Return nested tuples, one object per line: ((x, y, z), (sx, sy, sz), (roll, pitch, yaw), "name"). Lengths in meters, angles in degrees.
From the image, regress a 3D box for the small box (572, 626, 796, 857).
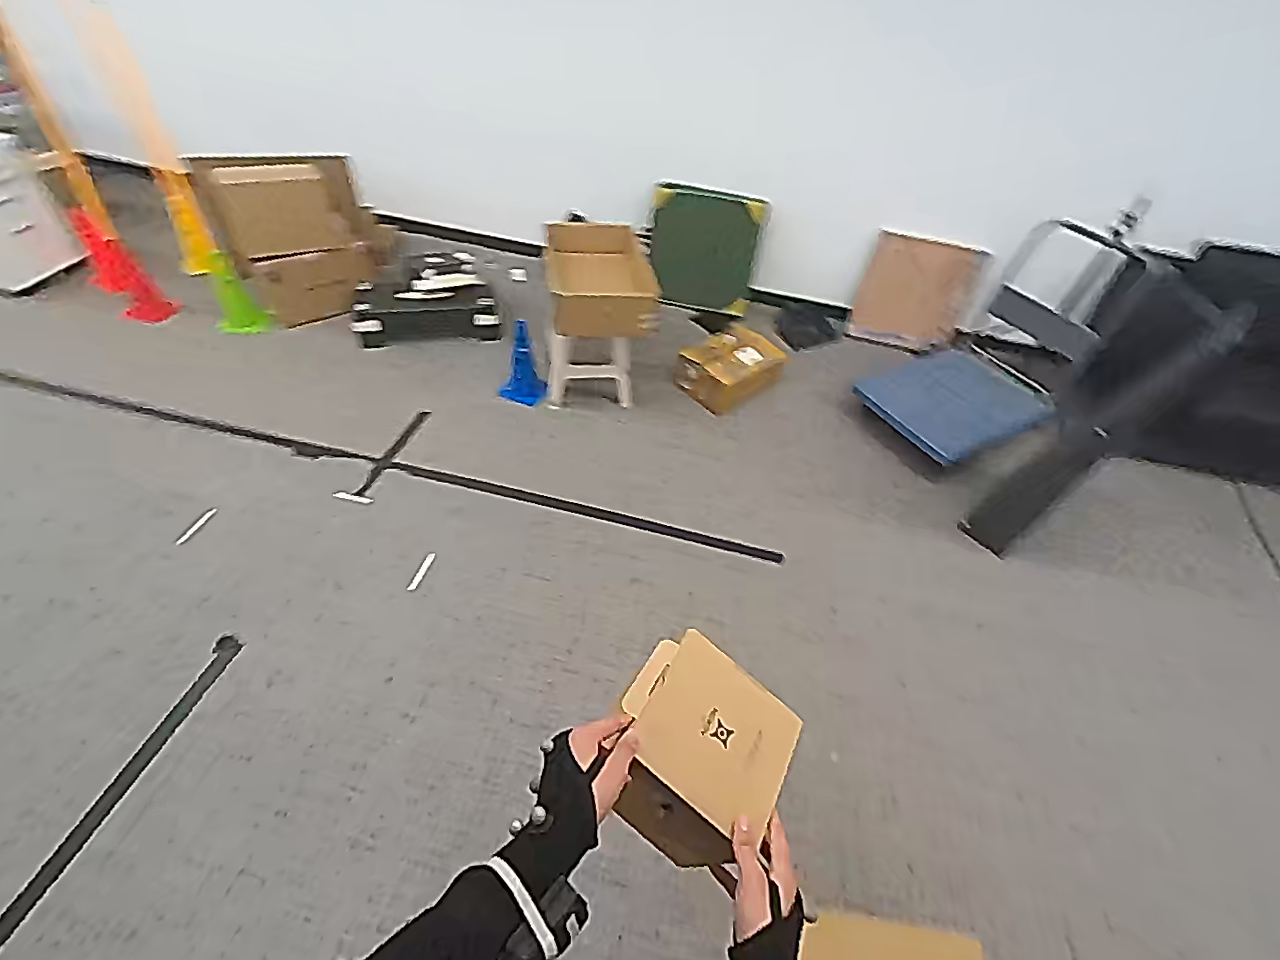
((0.046, 0.315, 0.642), (0.179, 0.176, 0.168), (38, 47, 4), "small box")
